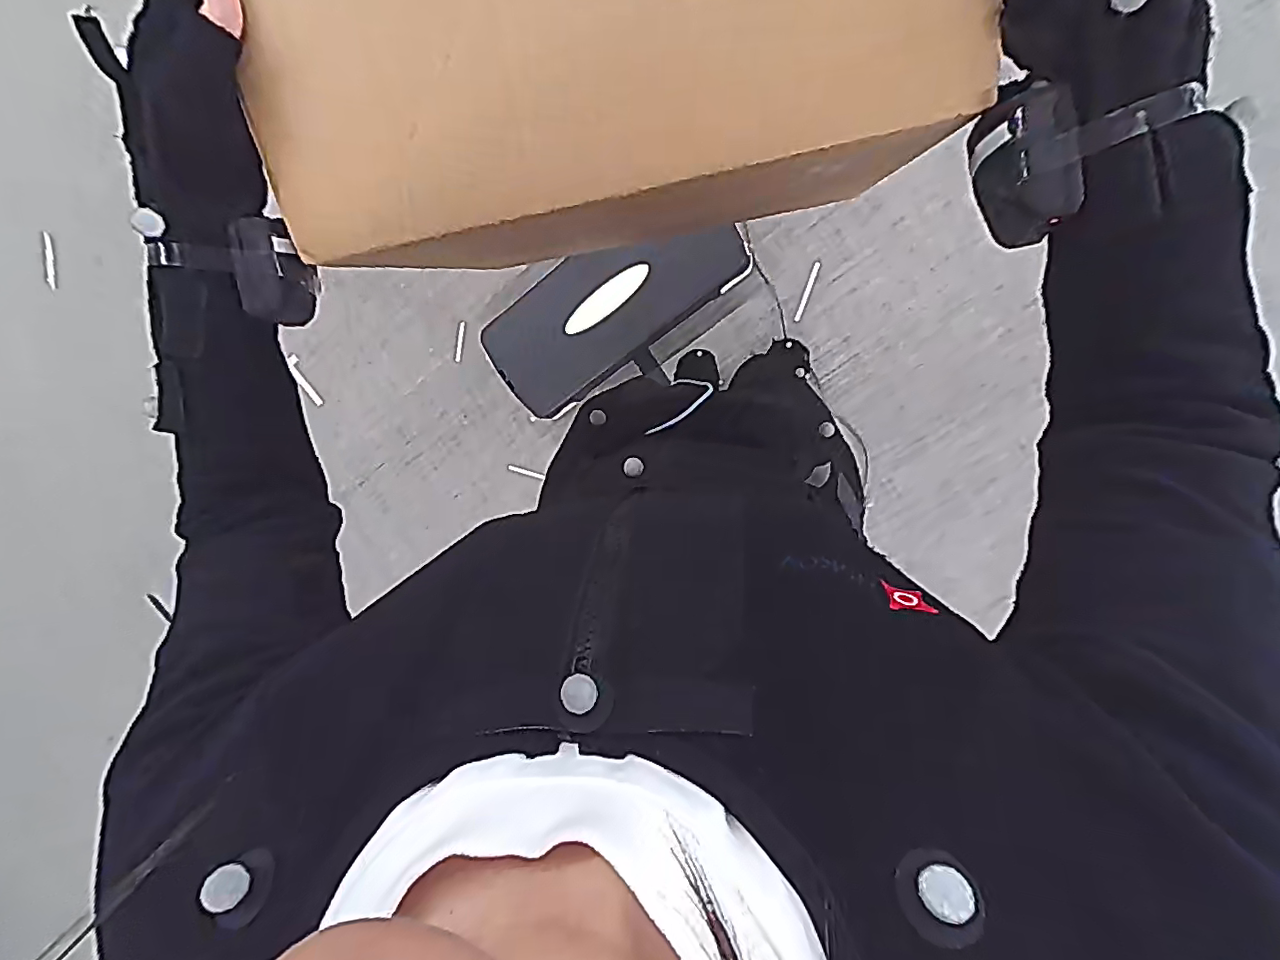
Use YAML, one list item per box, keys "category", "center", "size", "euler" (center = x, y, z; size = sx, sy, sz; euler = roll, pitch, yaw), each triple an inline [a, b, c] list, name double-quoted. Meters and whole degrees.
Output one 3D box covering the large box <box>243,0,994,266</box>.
- category: "large box"
  center: [-0.019, -0.366, 0.409]
  size: [0.408, 0.320, 0.320]
  euler: [-7, 110, 11]
